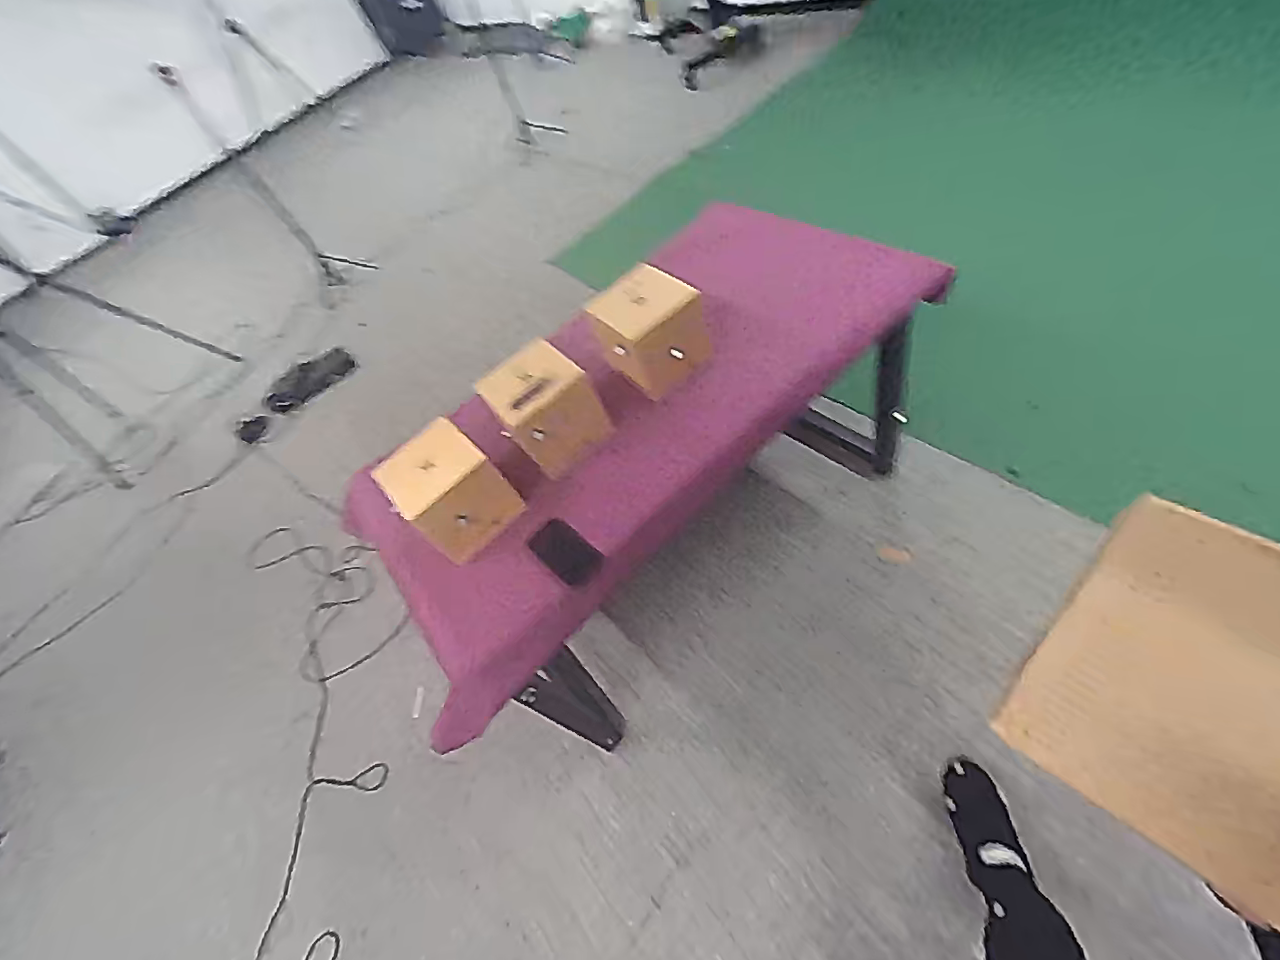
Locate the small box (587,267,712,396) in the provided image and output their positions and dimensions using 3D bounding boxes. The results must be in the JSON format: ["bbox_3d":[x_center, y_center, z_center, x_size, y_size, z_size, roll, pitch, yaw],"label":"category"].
[{"bbox_3d":[0.025,-0.298,1.108,0.168,0.176,0.179,-38,50,-10],"label":"small box"}]

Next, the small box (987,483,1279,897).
[{"bbox_3d":[0.355,0.117,0.343,0.176,0.168,0.179,33,104,37],"label":"small box"}]

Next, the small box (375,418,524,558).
[{"bbox_3d":[-0.349,0.022,1.013,0.168,0.176,0.179,-43,51,-13],"label":"small box"}]
